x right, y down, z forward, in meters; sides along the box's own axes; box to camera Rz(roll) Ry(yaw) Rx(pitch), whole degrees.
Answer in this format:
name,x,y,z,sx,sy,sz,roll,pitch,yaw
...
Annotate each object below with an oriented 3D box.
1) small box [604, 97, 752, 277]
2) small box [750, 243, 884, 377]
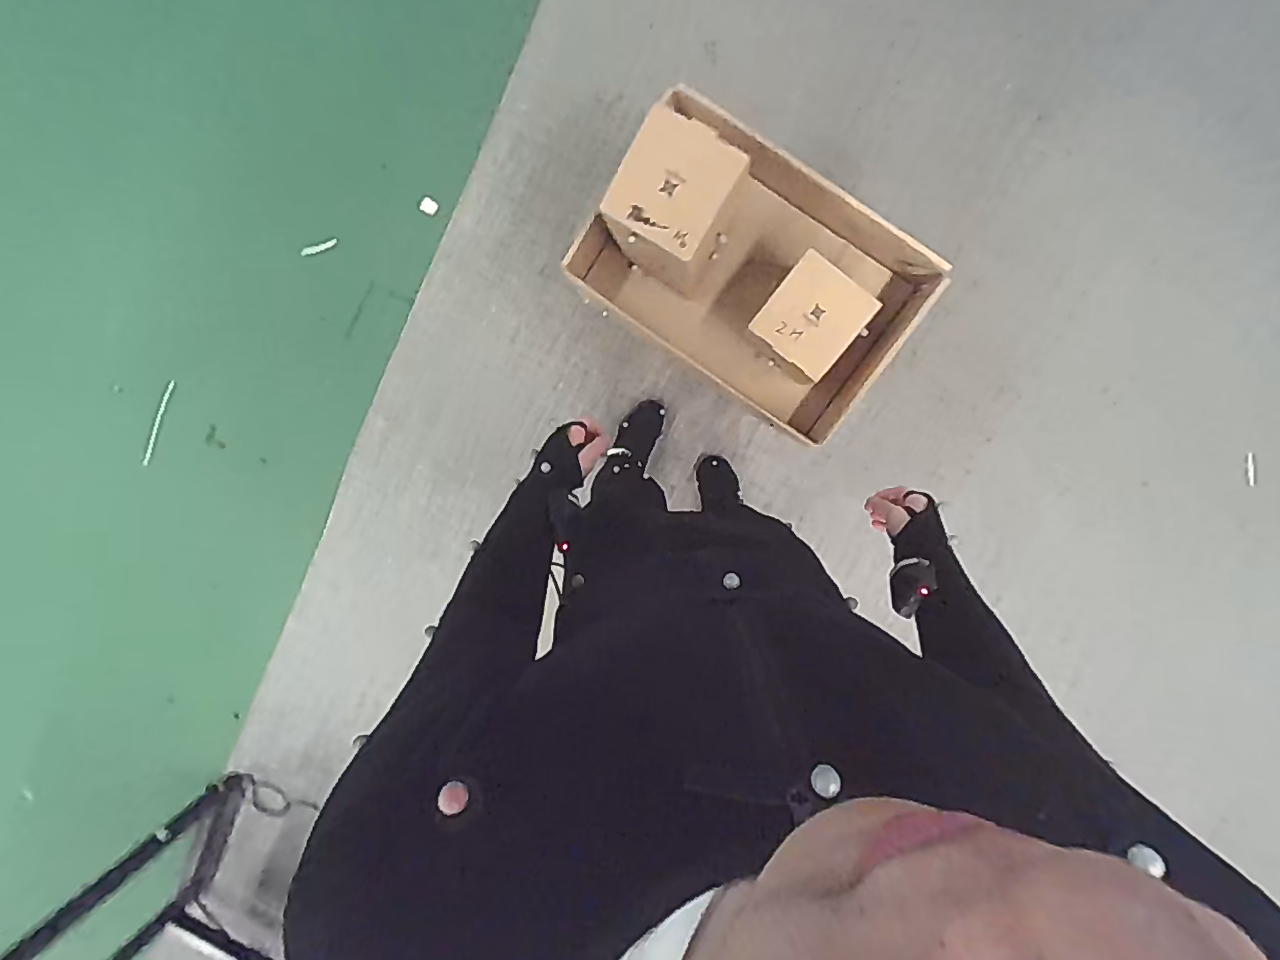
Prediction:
name,x,y,z,sx,sy,sz,roll,pitch,yaw
small box,0.065,-0.468,0.893,0.168,0.176,0.179,33,102,4
small box,0.327,-0.317,1.047,0.168,0.176,0.179,40,102,1
